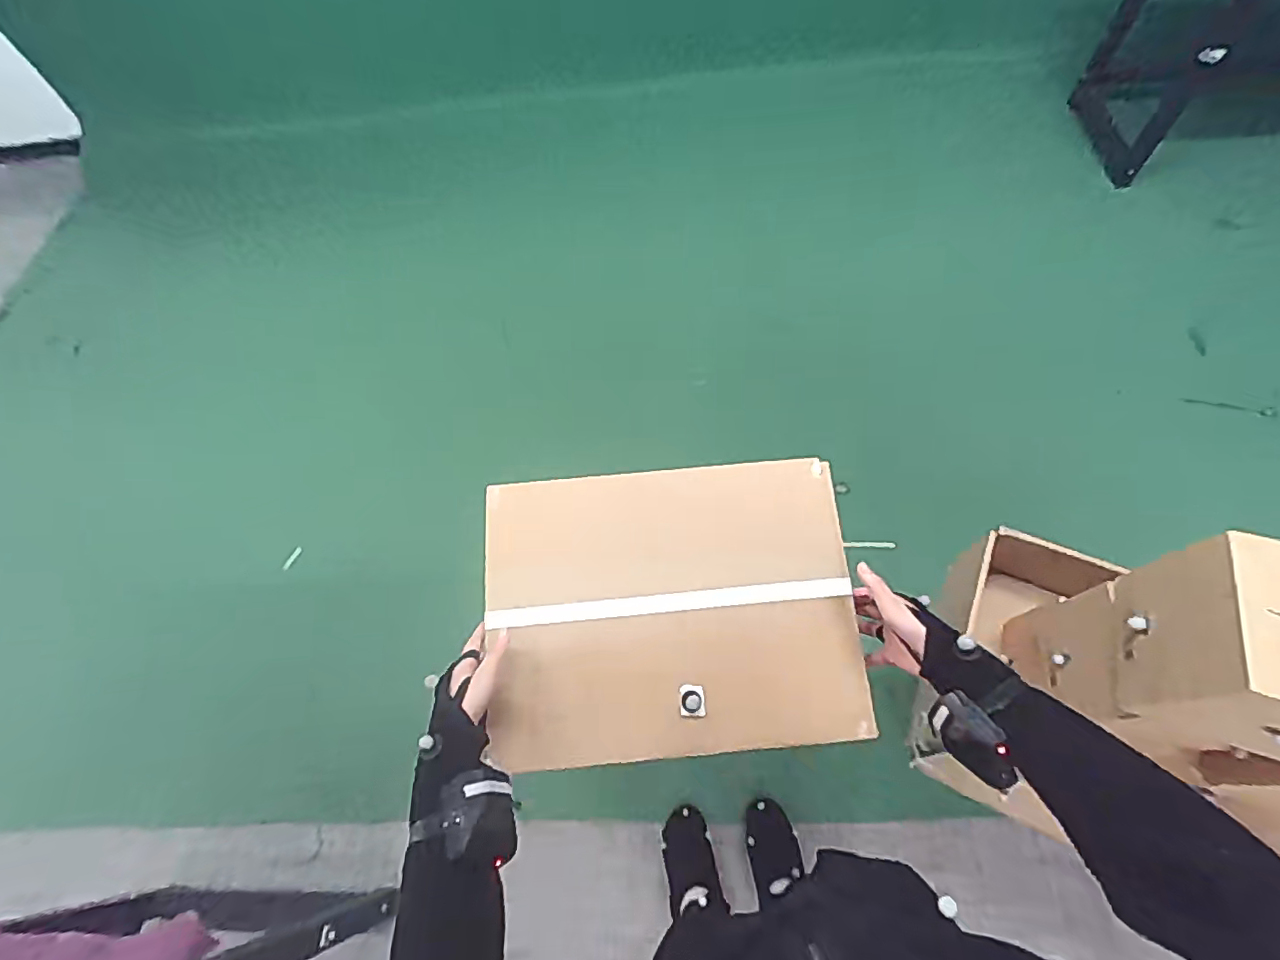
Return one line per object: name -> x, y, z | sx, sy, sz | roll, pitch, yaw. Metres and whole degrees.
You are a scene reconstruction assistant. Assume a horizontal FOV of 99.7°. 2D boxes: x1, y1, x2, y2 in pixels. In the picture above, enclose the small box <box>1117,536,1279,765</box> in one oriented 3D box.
small box -> 0.645, 0.183, 0.555 | 0.179, 0.176, 0.168 | 15, 63, 15
